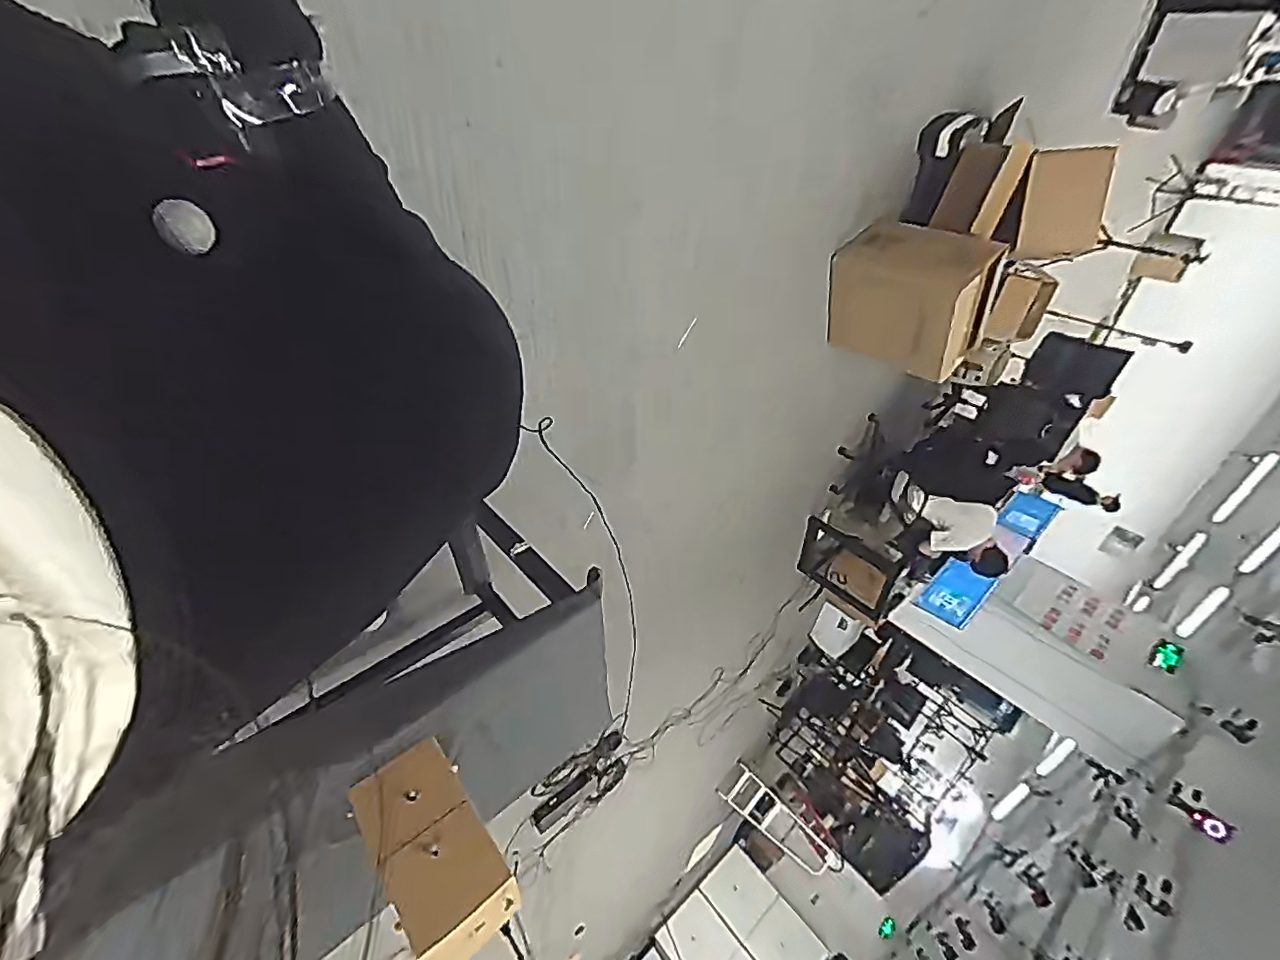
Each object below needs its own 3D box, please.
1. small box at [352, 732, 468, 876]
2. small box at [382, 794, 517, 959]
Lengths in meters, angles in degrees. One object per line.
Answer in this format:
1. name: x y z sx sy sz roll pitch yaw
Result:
1. small box: -0.456 0.655 1.085 0.179 0.176 0.168 -24 137 -34
2. small box: -0.350 0.728 0.989 0.179 0.176 0.168 -26 136 -33
